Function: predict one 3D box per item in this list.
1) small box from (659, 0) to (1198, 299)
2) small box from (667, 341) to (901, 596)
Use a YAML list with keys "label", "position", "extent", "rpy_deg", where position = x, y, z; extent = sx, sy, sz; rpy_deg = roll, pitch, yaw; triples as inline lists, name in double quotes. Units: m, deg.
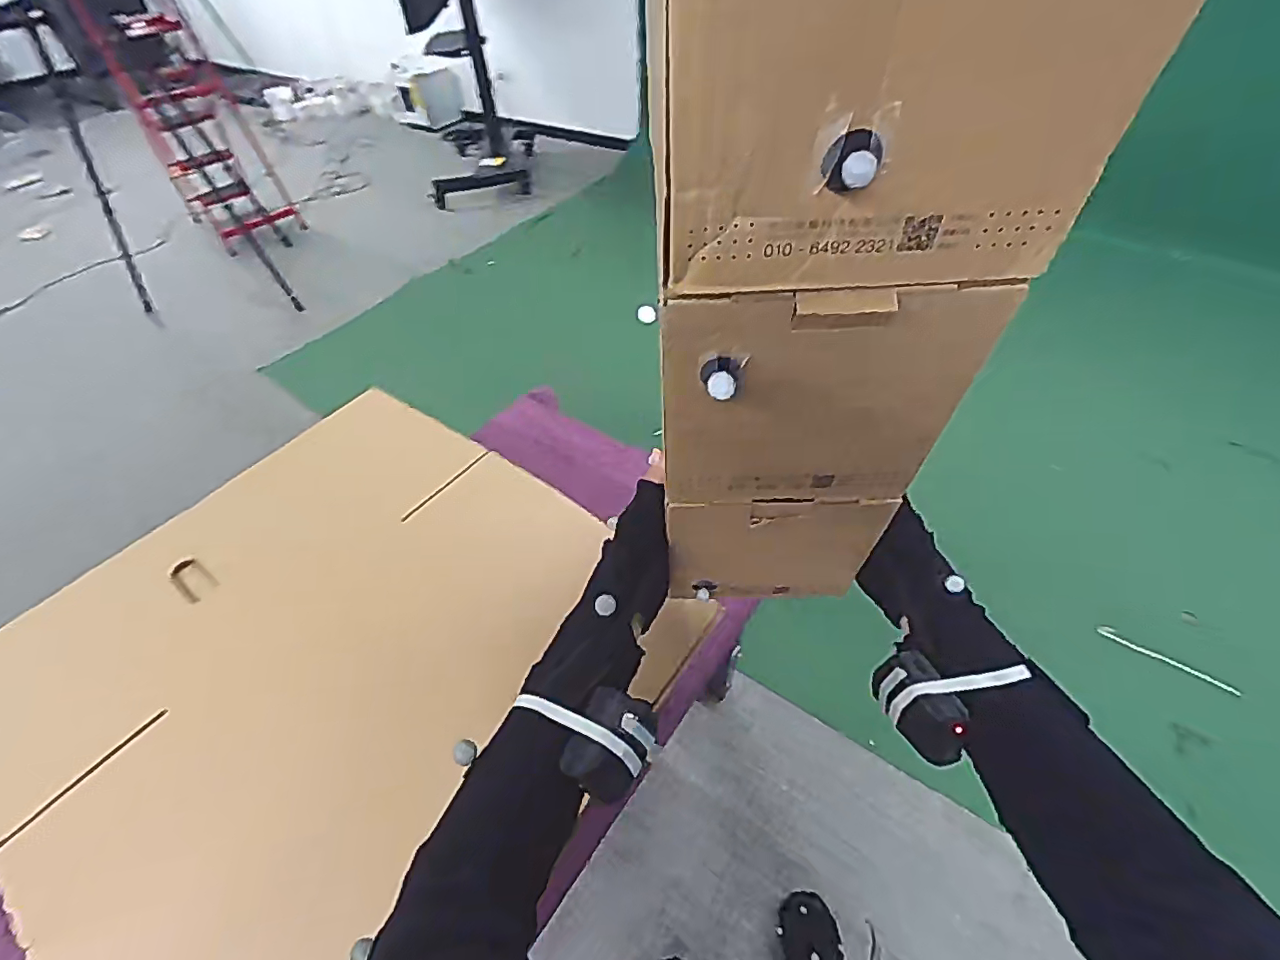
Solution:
- label: "small box"
  position: [0.092, -0.201, 0.235]
  extent: [0.168, 0.176, 0.179]
  rpy_deg: [-3, 54, 1]
- label: "small box"
  position: [0.110, -0.003, 0.495]
  extent: [0.168, 0.176, 0.179]
  rpy_deg: [-1, 53, 3]
